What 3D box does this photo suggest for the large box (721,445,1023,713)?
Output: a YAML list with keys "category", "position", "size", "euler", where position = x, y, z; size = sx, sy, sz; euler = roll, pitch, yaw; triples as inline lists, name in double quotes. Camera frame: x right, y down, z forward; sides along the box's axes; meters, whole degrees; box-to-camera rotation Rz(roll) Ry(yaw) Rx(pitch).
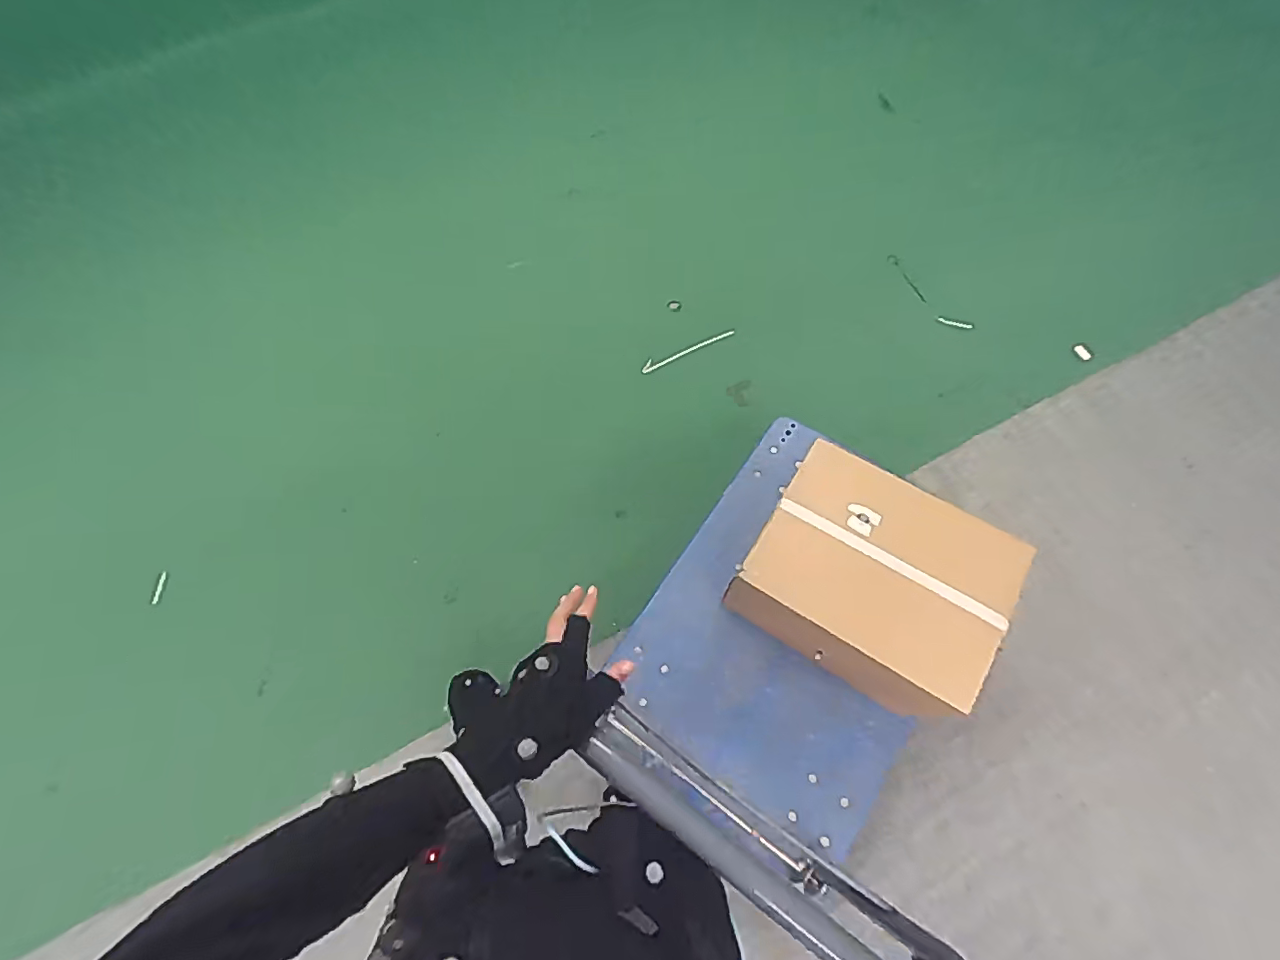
- category: "large box"
  position: [0.413, 0.202, 1.054]
  size: [0.408, 0.320, 0.320]
  euler: [30, 72, 16]
